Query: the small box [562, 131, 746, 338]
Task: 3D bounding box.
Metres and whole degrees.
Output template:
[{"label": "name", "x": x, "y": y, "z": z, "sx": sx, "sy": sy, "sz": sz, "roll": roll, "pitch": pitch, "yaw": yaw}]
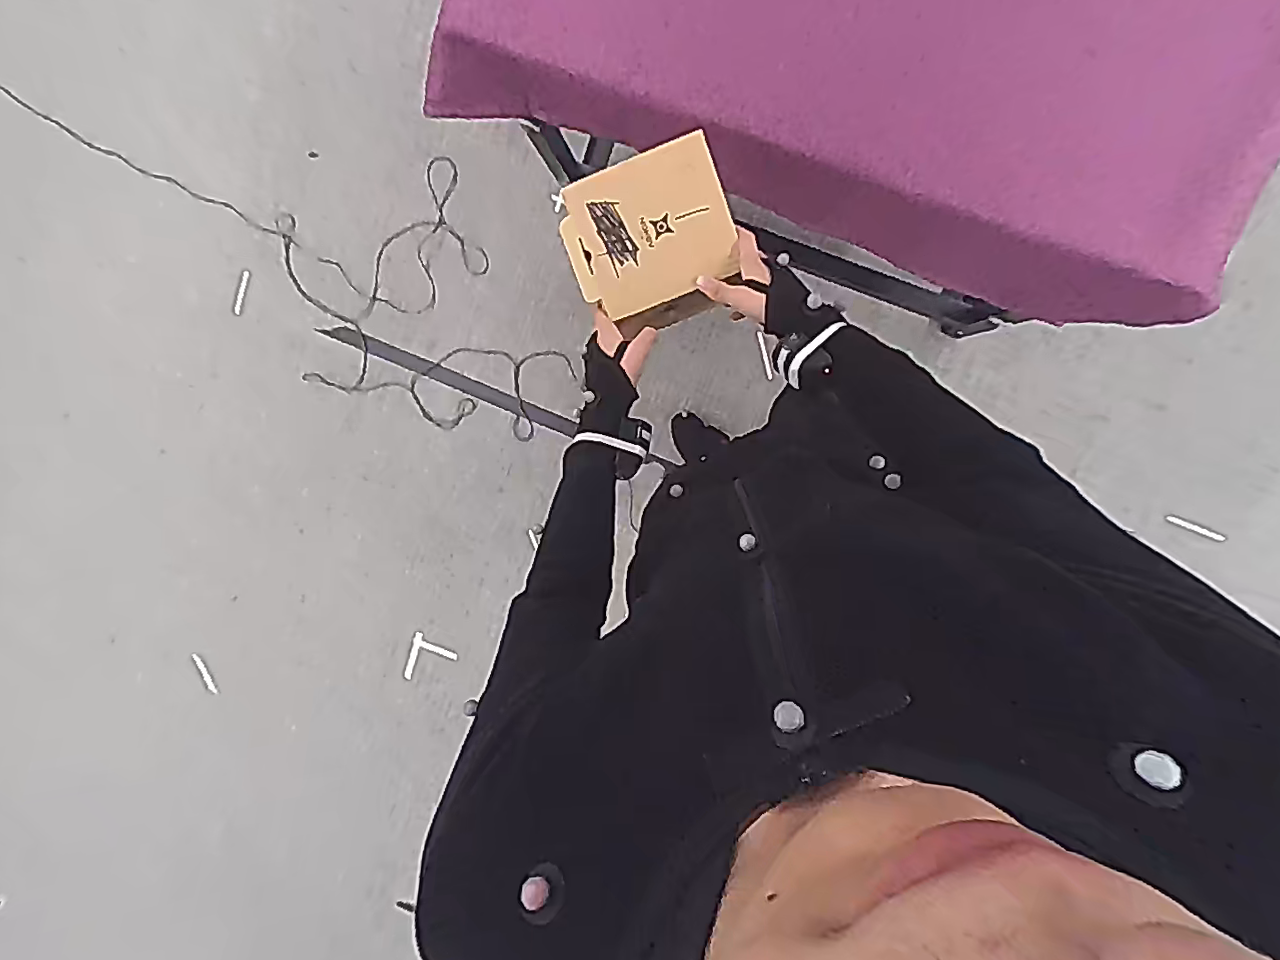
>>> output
[{"label": "small box", "x": 0.021, "y": -0.298, "z": 0.702, "sx": 0.179, "sy": 0.176, "sz": 0.168, "roll": -20, "pitch": 95, "yaw": 5}]
